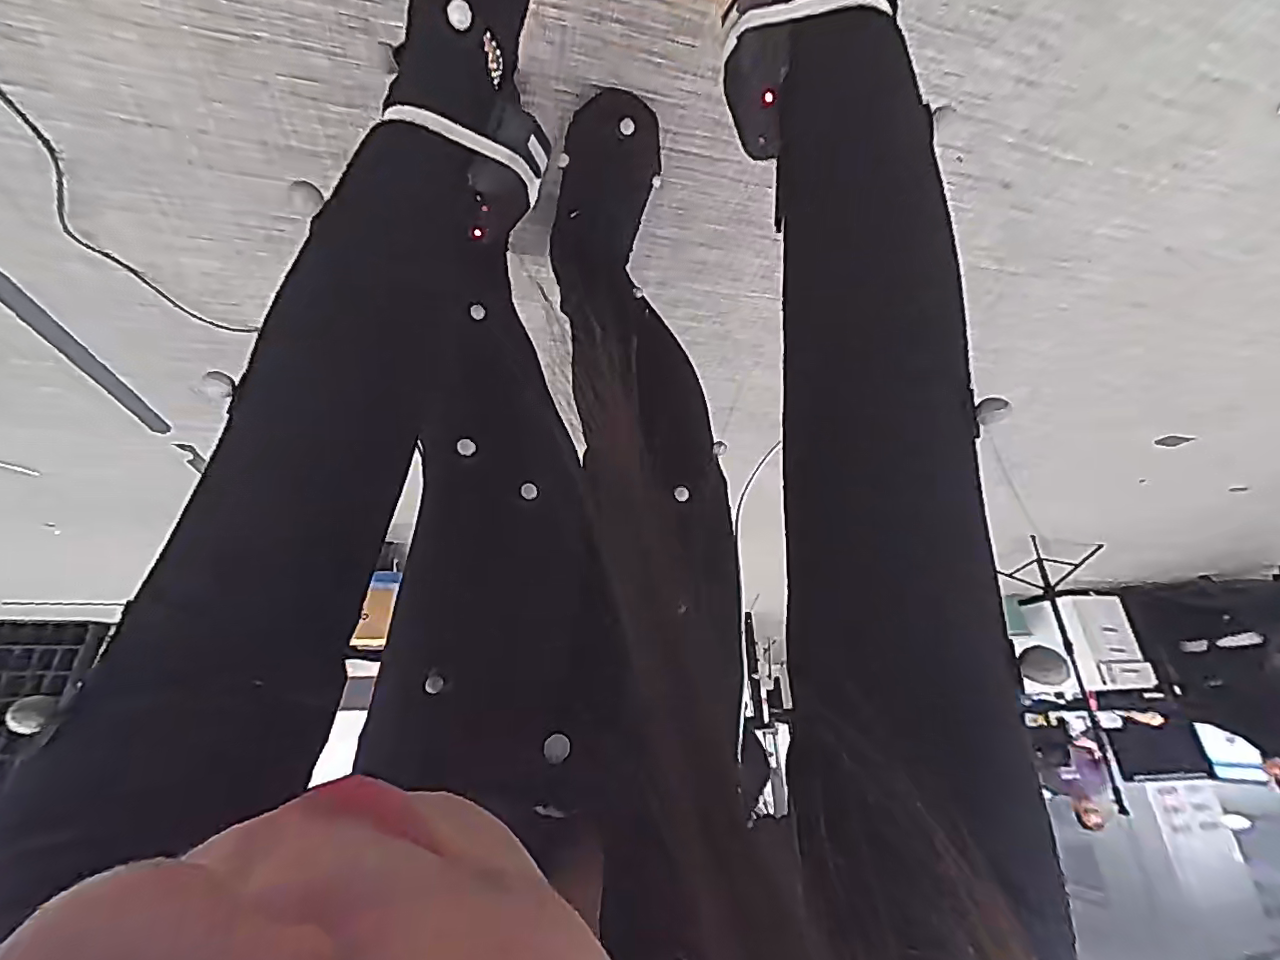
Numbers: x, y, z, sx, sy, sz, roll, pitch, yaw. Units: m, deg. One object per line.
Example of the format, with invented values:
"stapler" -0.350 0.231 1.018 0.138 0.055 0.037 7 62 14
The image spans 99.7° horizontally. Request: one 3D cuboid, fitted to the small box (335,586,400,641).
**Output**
"small box" -0.971 0.480 1.942 0.179 0.176 0.168 5 156 -18
